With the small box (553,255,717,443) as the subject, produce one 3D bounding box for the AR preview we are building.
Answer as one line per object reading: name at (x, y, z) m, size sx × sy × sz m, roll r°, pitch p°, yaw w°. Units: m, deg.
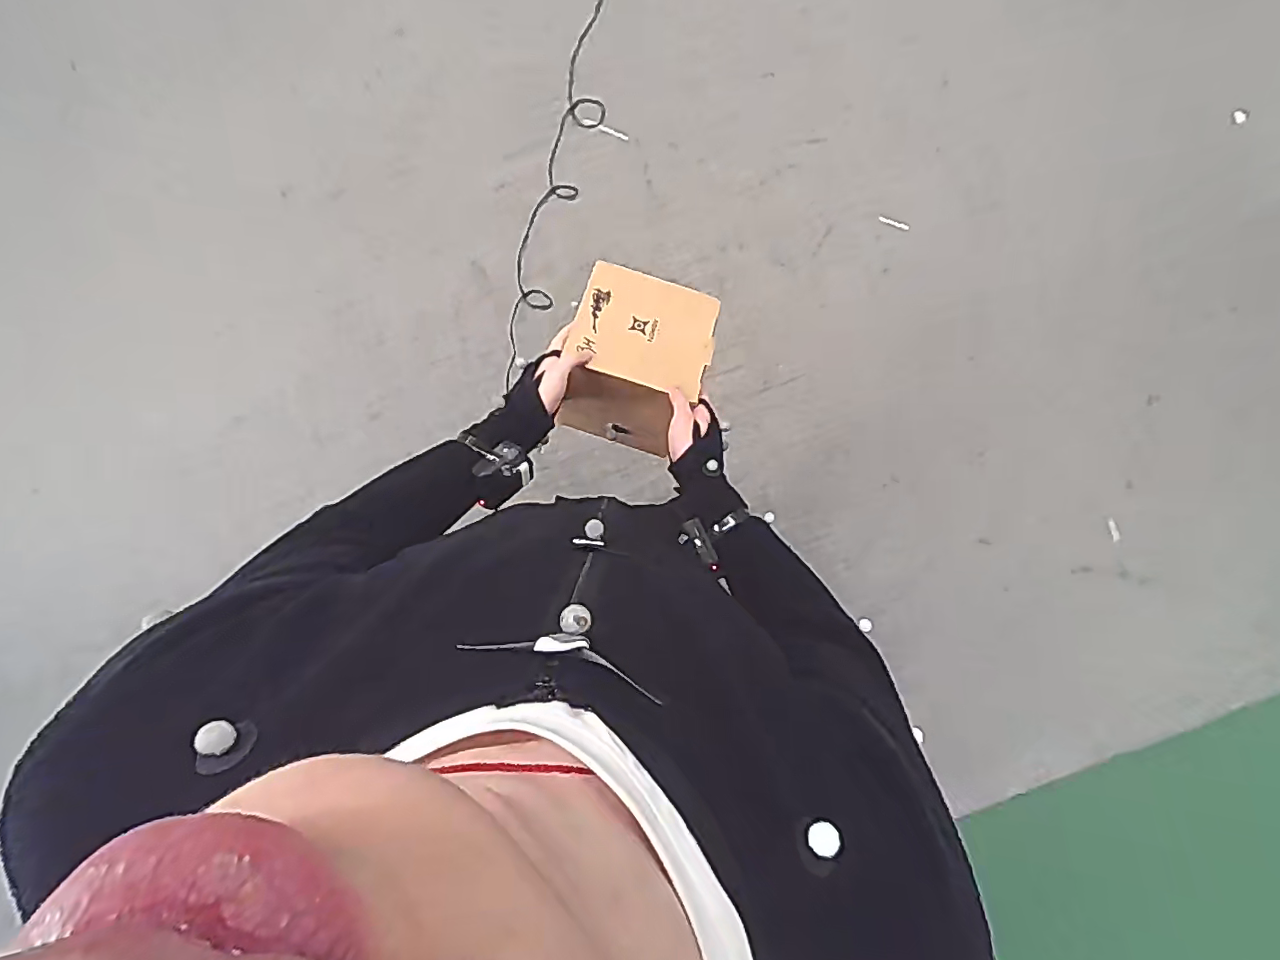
small box at (-0.014, -0.169, 0.753) m, size 0.179 × 0.176 × 0.168 m, roll 17°, pitch 67°, yaw -5°
